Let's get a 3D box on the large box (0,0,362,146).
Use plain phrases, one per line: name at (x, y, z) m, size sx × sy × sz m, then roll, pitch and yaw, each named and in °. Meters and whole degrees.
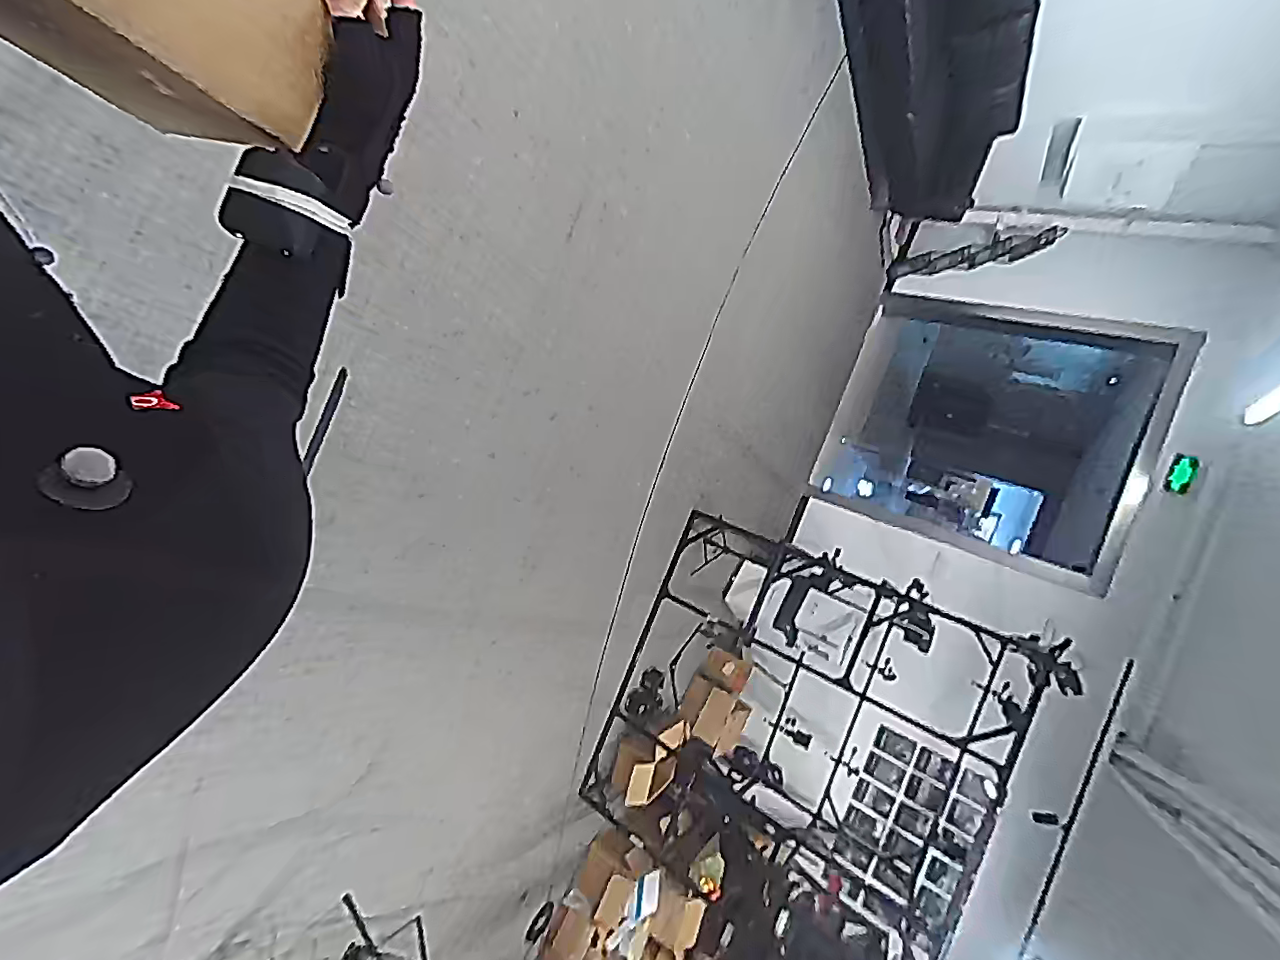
large box at (-0.413, -0.482, 0.317) m, size 0.408 × 0.320 × 0.320 m, roll 20°, pitch 96°, yaw -60°
